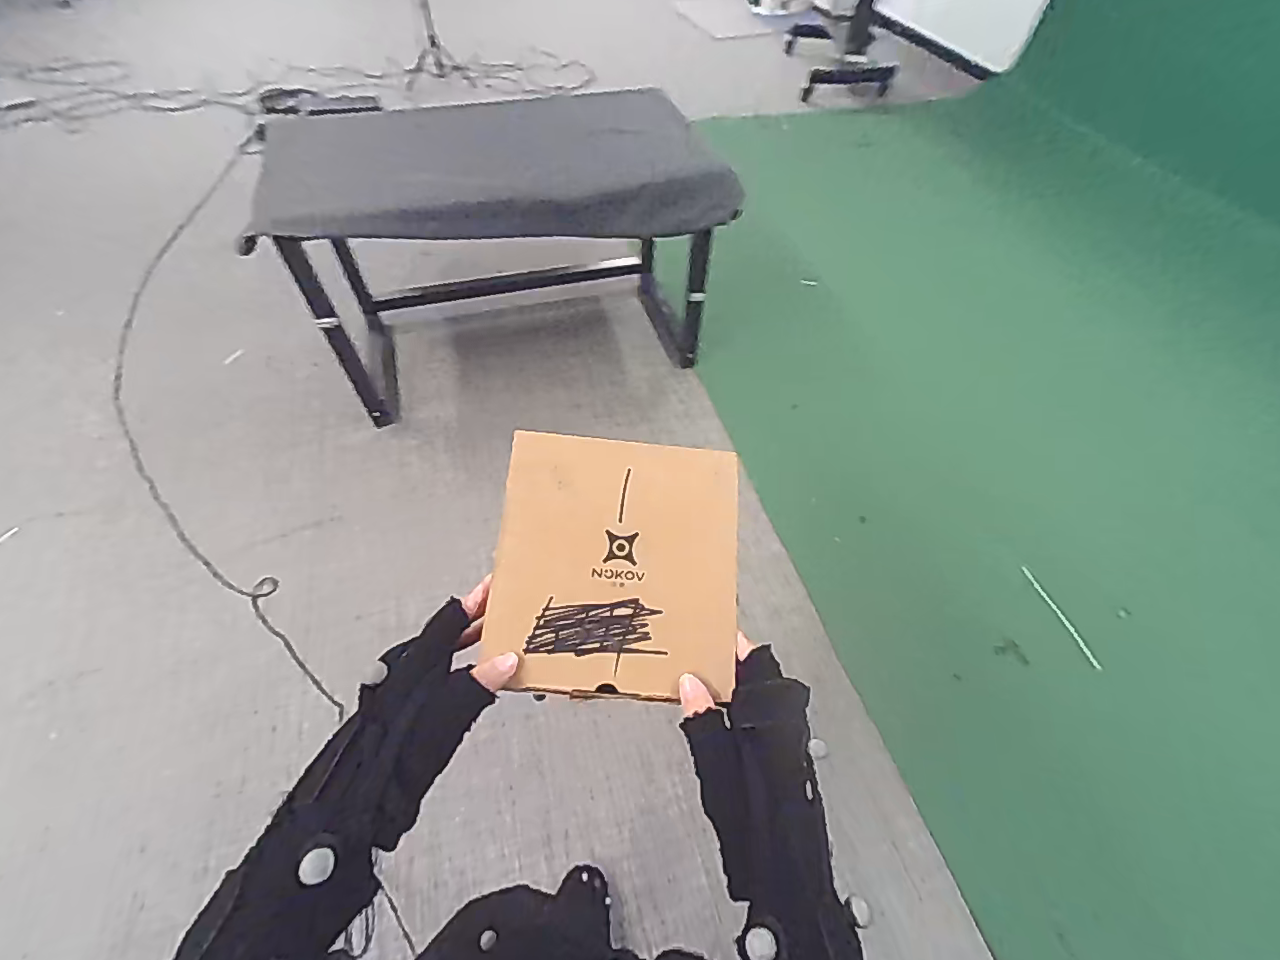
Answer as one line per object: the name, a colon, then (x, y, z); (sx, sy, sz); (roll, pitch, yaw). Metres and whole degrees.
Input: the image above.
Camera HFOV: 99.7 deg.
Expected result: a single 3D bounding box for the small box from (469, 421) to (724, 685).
small box: (-0.030, 0.070, 0.450); (0.168, 0.176, 0.179); (5, 70, -4)
